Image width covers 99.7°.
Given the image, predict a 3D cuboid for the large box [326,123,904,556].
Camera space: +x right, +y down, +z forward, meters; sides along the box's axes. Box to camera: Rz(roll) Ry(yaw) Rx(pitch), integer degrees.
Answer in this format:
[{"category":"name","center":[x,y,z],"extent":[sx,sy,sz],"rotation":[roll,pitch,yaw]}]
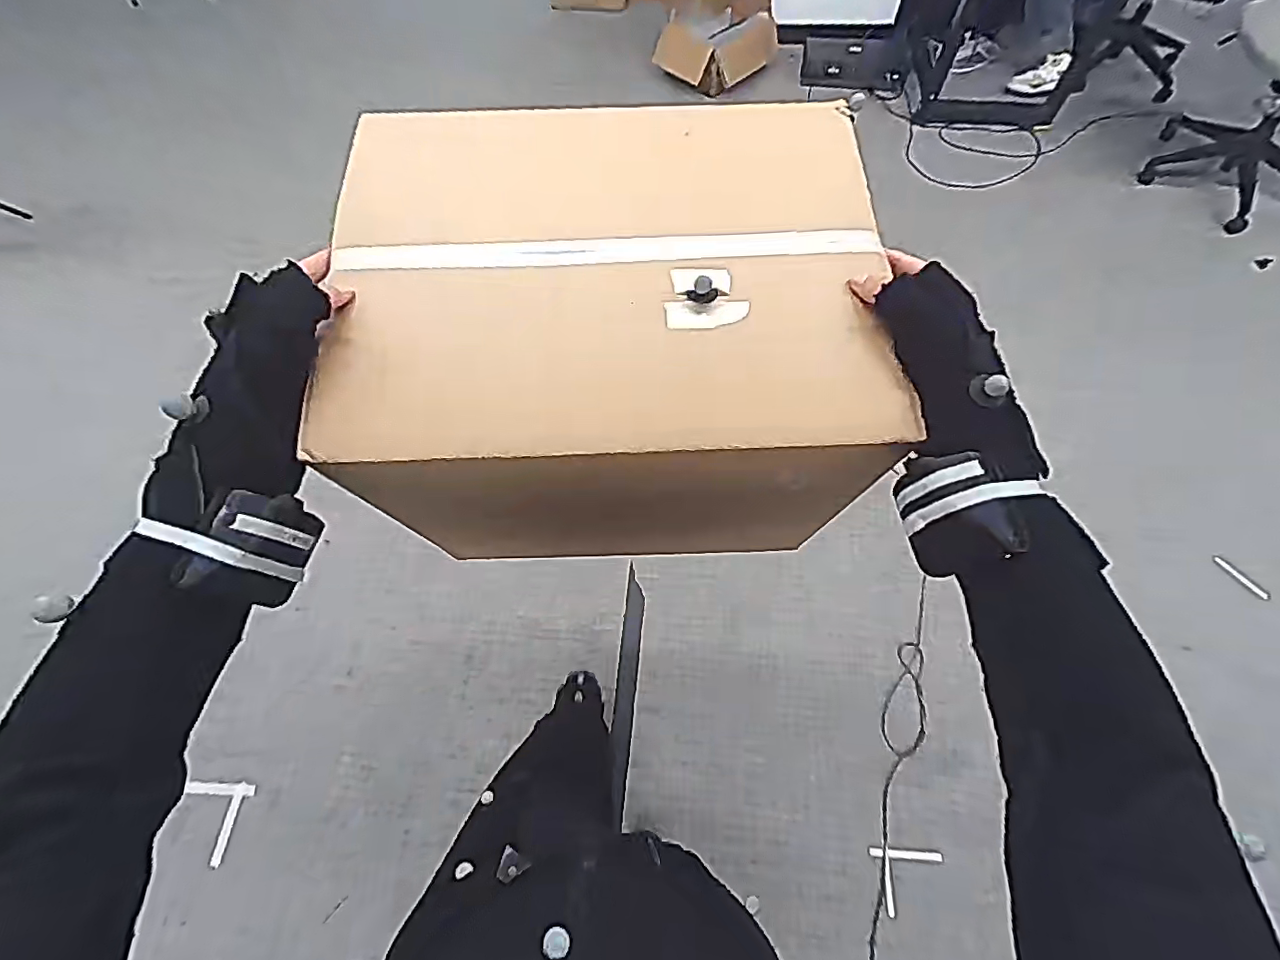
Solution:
[{"category":"large box","center":[-0.023,-0.112,0.558],"extent":[0.408,0.320,0.320],"rotation":[-2,70,0]}]
